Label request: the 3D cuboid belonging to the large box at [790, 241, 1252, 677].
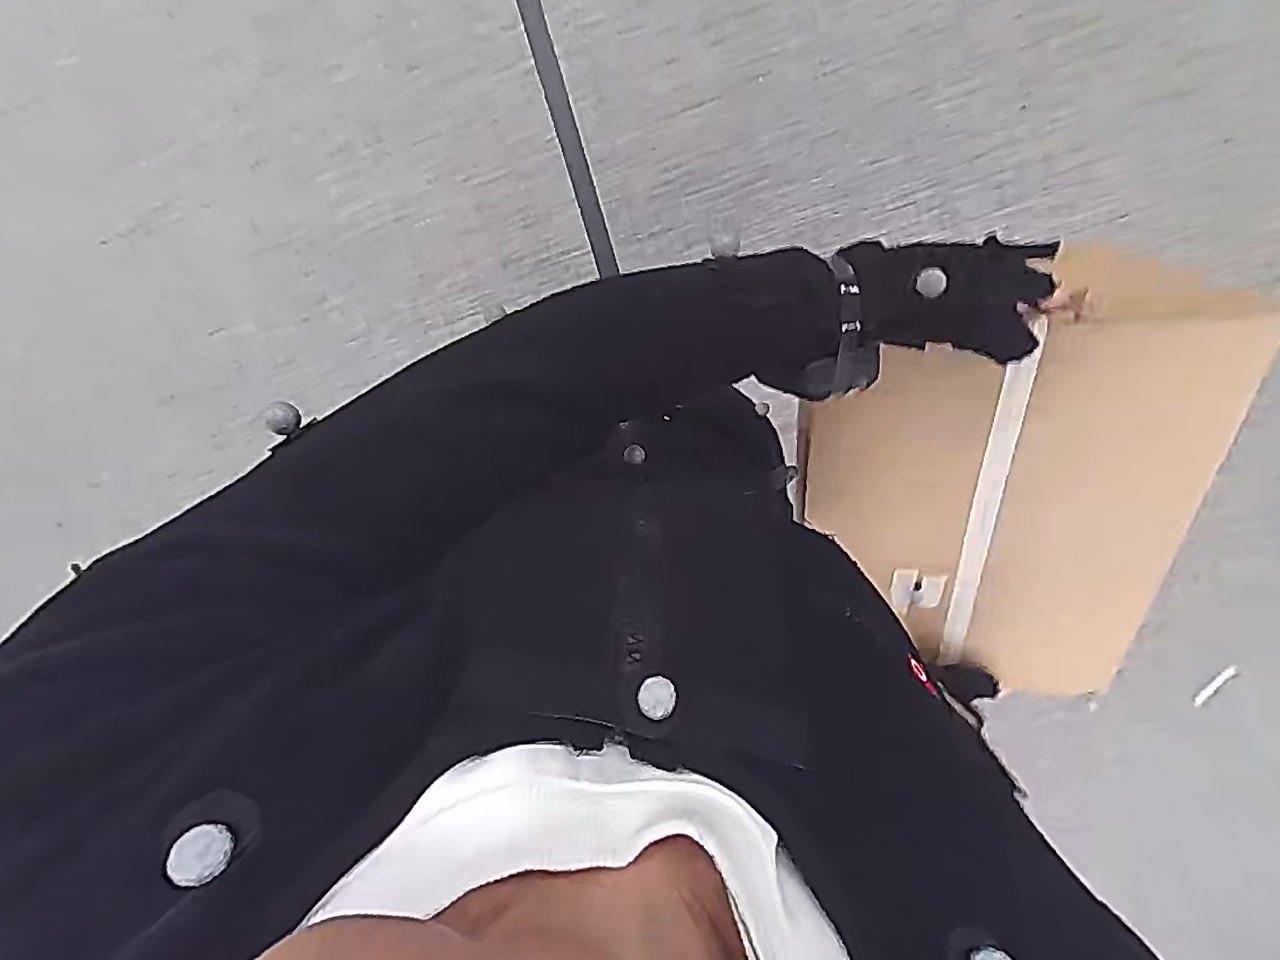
[{"bbox_3d":[0.345,-0.036,0.642,0.320,0.320,0.408,2,122,14],"label":"large box"}]
